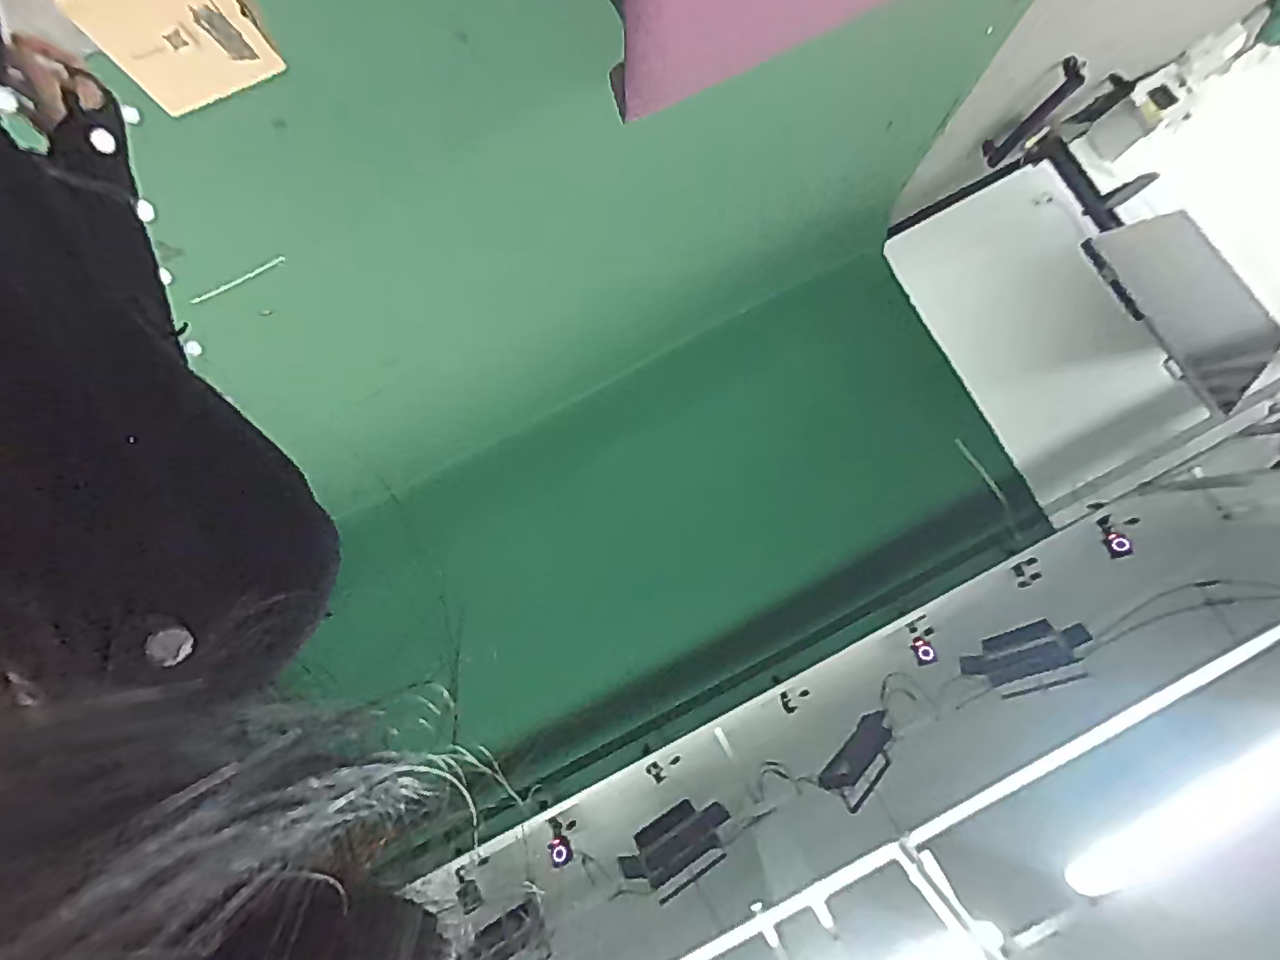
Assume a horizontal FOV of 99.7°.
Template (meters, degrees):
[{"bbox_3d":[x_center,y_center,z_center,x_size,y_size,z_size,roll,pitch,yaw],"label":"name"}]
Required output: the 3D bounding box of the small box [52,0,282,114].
[{"bbox_3d":[-0.619,-0.631,0.692,0.179,0.176,0.168,-26,174,-5],"label":"small box"}]
